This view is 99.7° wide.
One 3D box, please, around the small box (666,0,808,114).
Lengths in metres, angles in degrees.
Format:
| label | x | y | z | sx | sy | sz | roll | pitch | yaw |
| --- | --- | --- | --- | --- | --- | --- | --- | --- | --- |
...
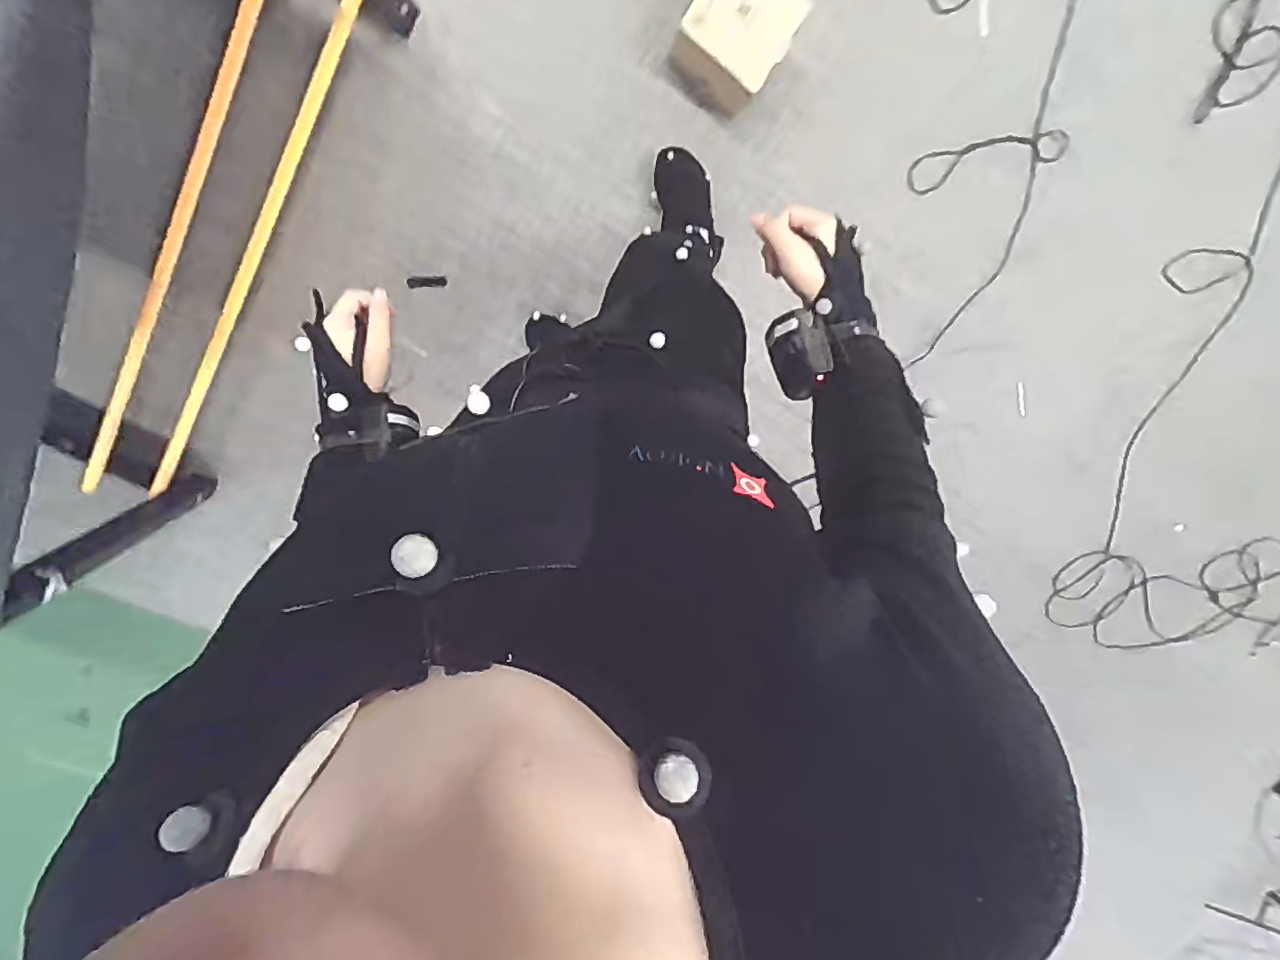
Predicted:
| label | x | y | z | sx | sy | sz | roll | pitch | yaw |
| --- | --- | --- | --- | --- | --- | --- | --- | --- | --- |
| small box | 0.170 | -0.820 | 1.004 | 0.179 | 0.176 | 0.168 | 32 | 105 | -17 |
